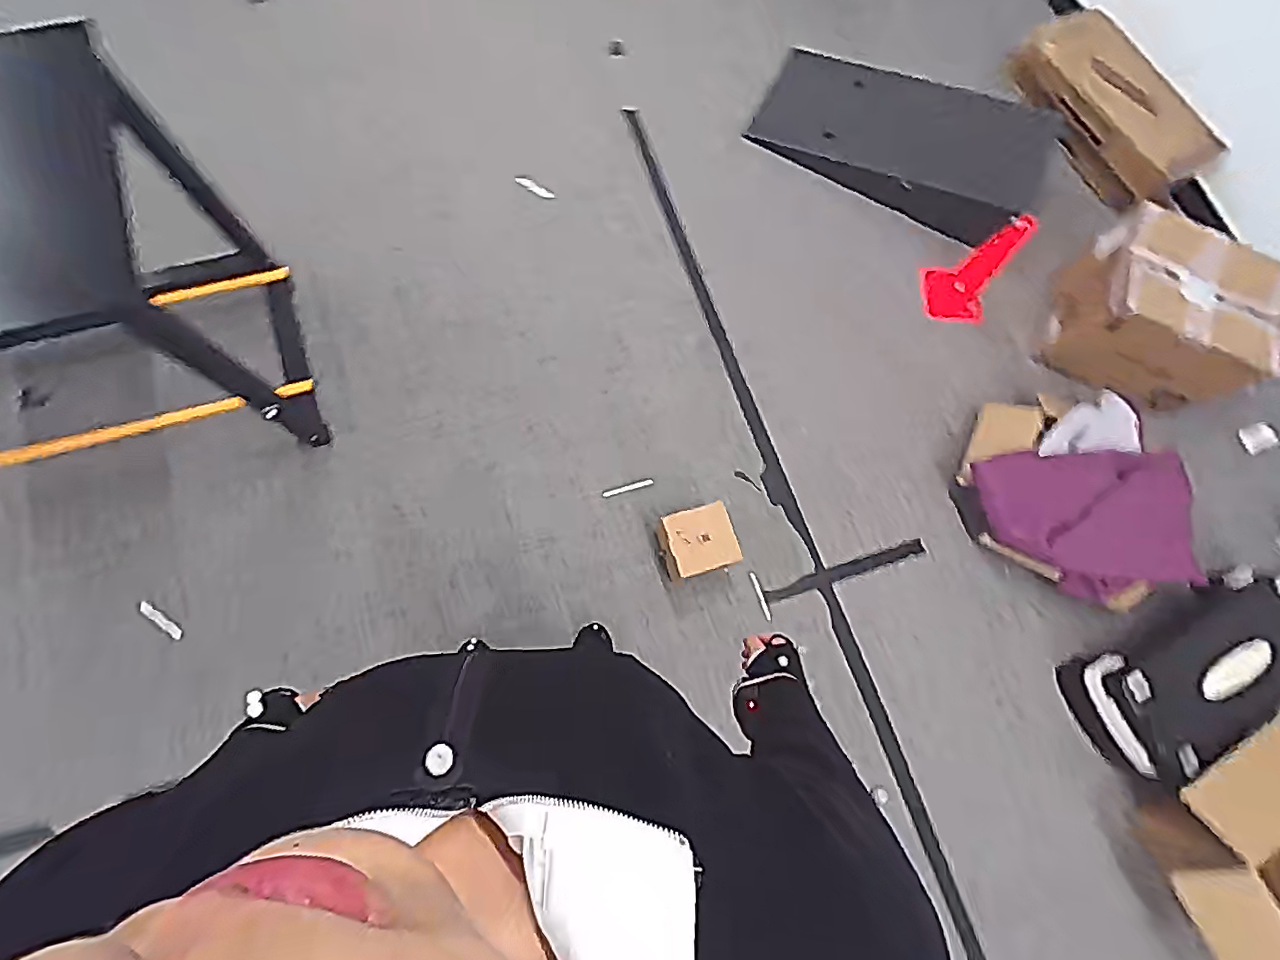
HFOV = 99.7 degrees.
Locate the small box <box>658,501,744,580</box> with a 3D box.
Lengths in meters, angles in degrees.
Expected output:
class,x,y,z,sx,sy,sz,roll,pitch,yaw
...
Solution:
class,x,y,z,sx,sy,sz,roll,pitch,yaw
small box,0.160,0.171,1.488,0.179,0.176,0.168,-15,77,-9
